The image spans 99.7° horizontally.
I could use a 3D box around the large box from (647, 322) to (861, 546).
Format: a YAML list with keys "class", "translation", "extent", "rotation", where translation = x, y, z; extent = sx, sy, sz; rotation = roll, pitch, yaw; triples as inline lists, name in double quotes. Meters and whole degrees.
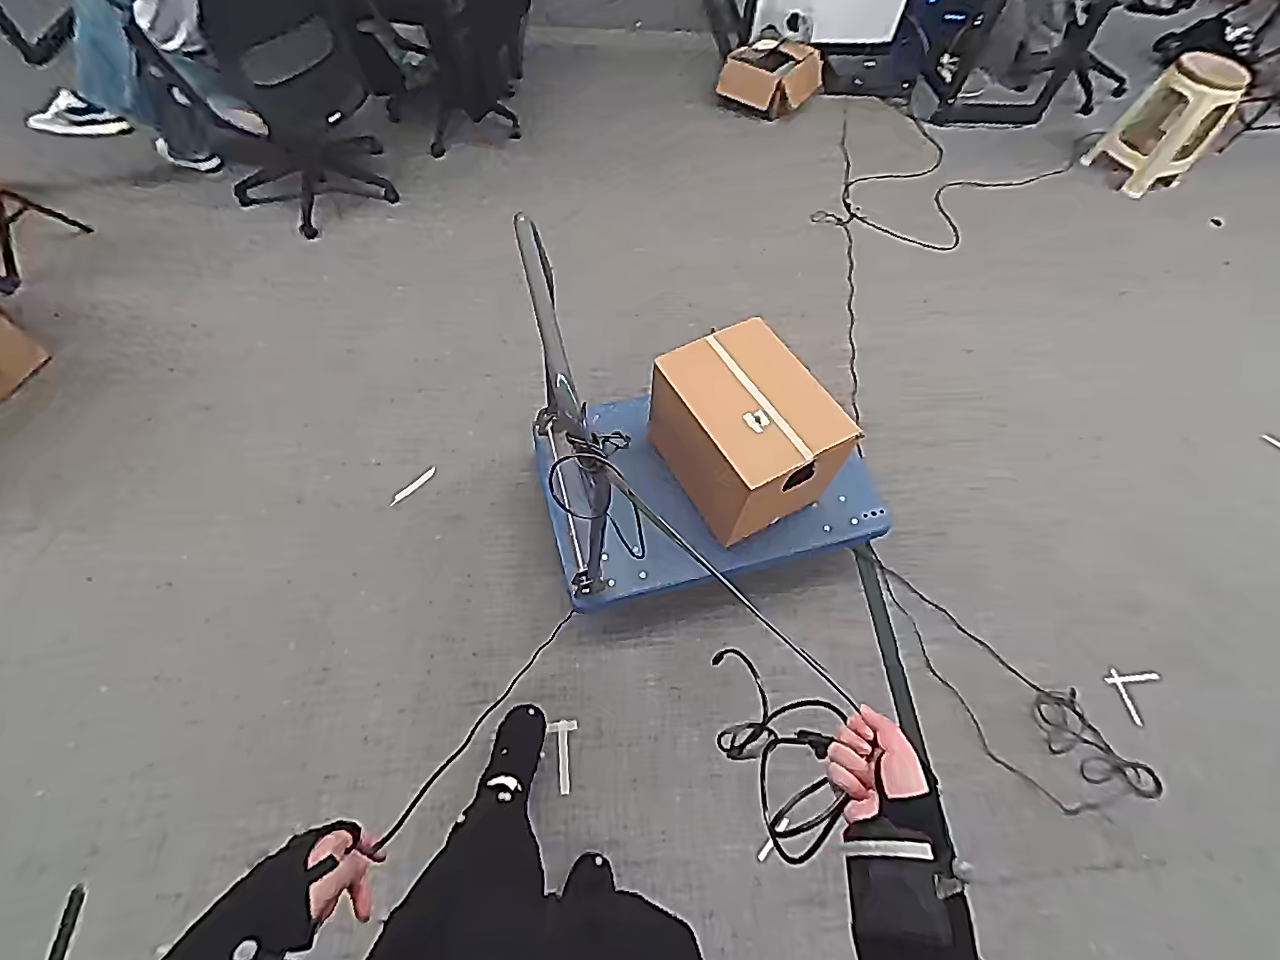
- class: "large box"
  translation: [0.254, -0.113, 1.363]
  extent: [0.320, 0.320, 0.408]
  rotation: [-26, 65, -16]
